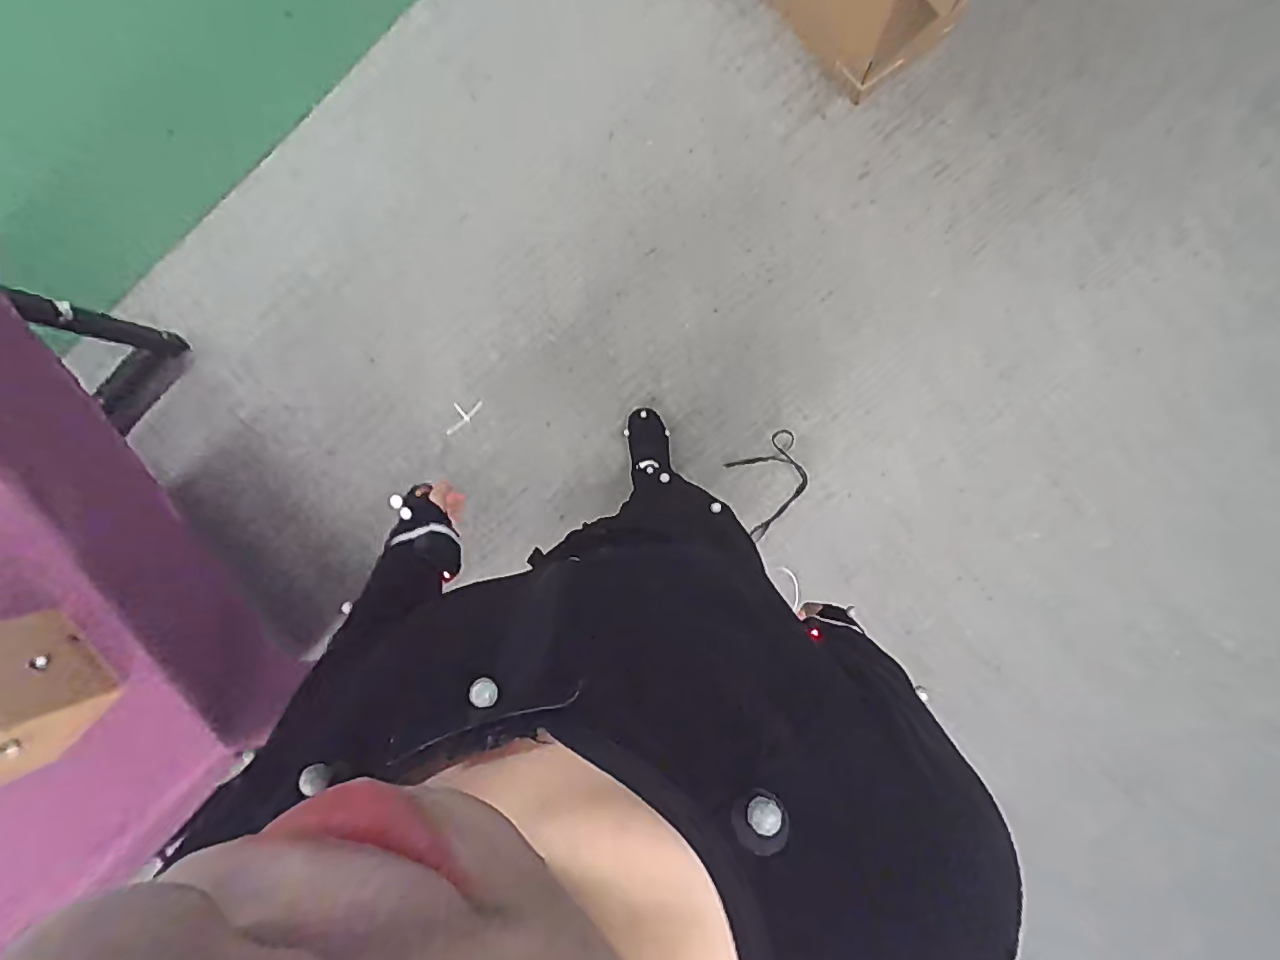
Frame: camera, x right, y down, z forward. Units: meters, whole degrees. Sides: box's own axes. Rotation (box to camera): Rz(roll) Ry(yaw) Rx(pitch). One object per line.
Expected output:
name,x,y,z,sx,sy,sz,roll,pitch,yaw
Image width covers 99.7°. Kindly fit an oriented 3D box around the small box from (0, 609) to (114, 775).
small box,-0.913,0.308,0.763,0.179,0.176,0.168,-44,85,5
